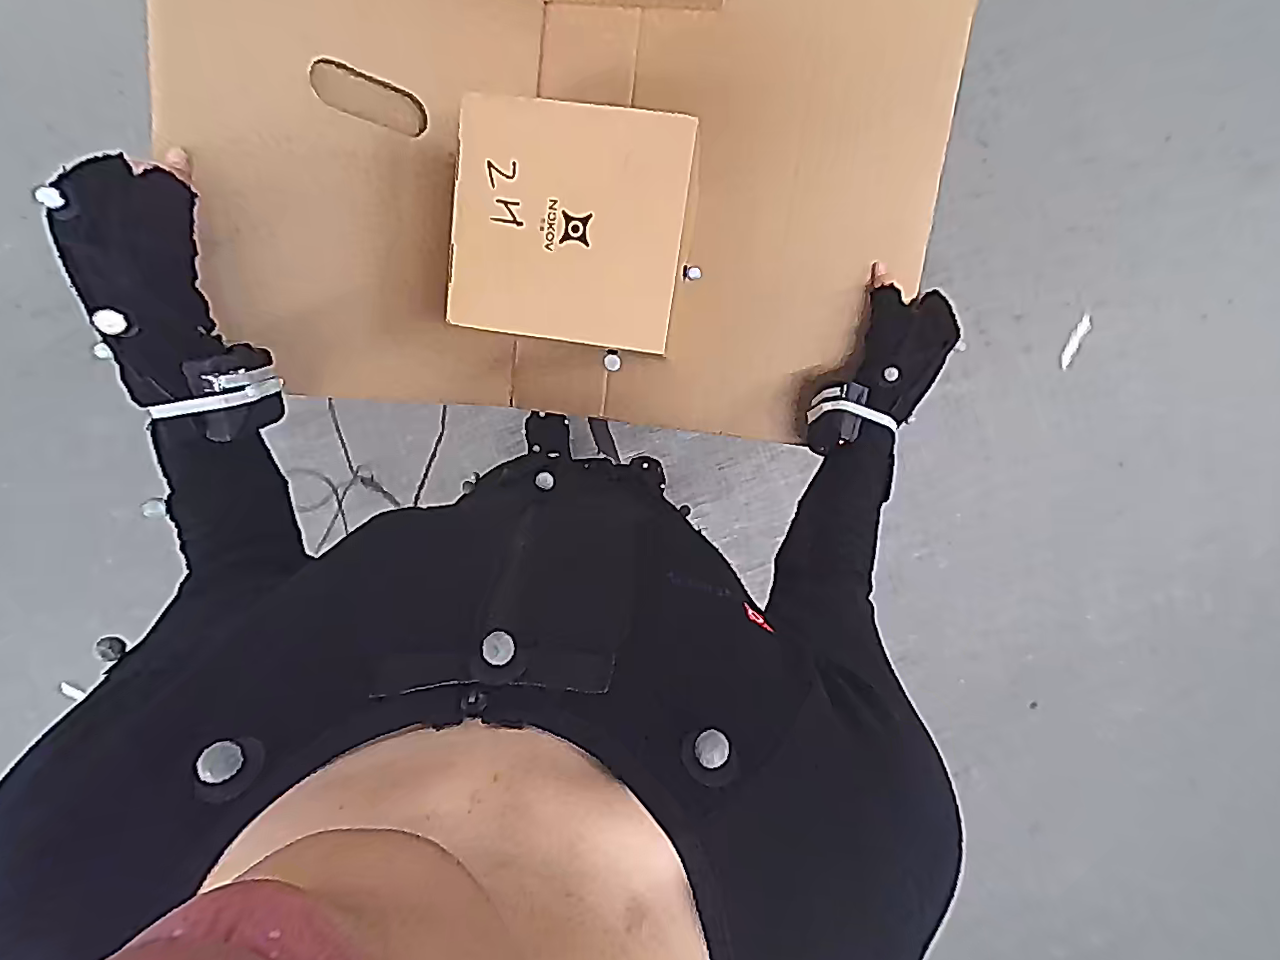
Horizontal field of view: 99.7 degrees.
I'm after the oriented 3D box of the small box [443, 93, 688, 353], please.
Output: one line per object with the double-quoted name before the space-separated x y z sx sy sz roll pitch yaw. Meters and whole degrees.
"small box" -0.053 -0.209 0.487 0.179 0.176 0.168 9 101 5
